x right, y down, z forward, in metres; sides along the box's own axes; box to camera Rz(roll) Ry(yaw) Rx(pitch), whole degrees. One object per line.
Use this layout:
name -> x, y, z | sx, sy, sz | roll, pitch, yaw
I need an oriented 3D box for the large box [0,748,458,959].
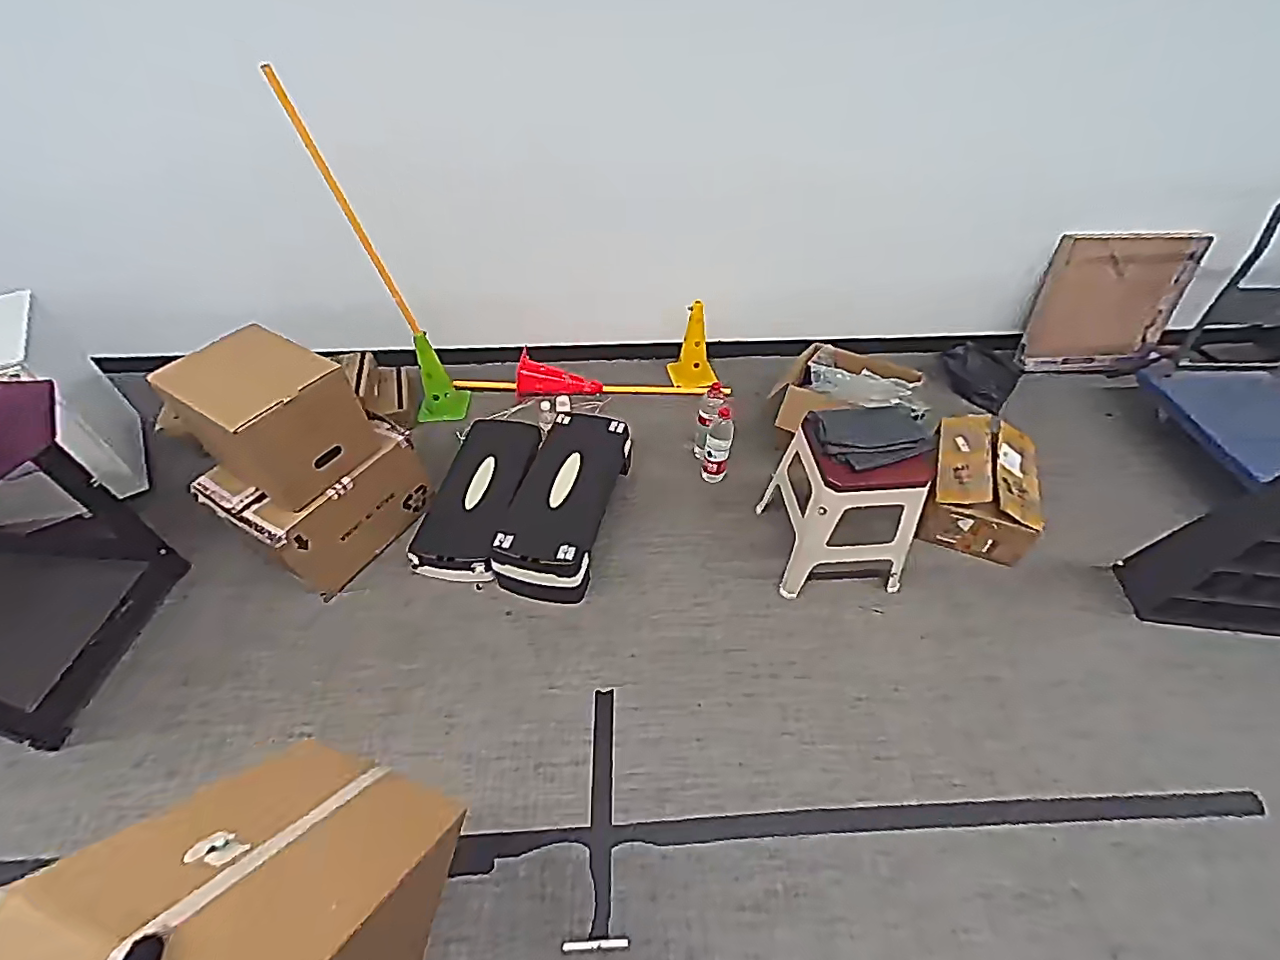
large box -> -0.506, 0.626, 0.701 | 0.320, 0.408, 0.320 | 15, 87, 10
